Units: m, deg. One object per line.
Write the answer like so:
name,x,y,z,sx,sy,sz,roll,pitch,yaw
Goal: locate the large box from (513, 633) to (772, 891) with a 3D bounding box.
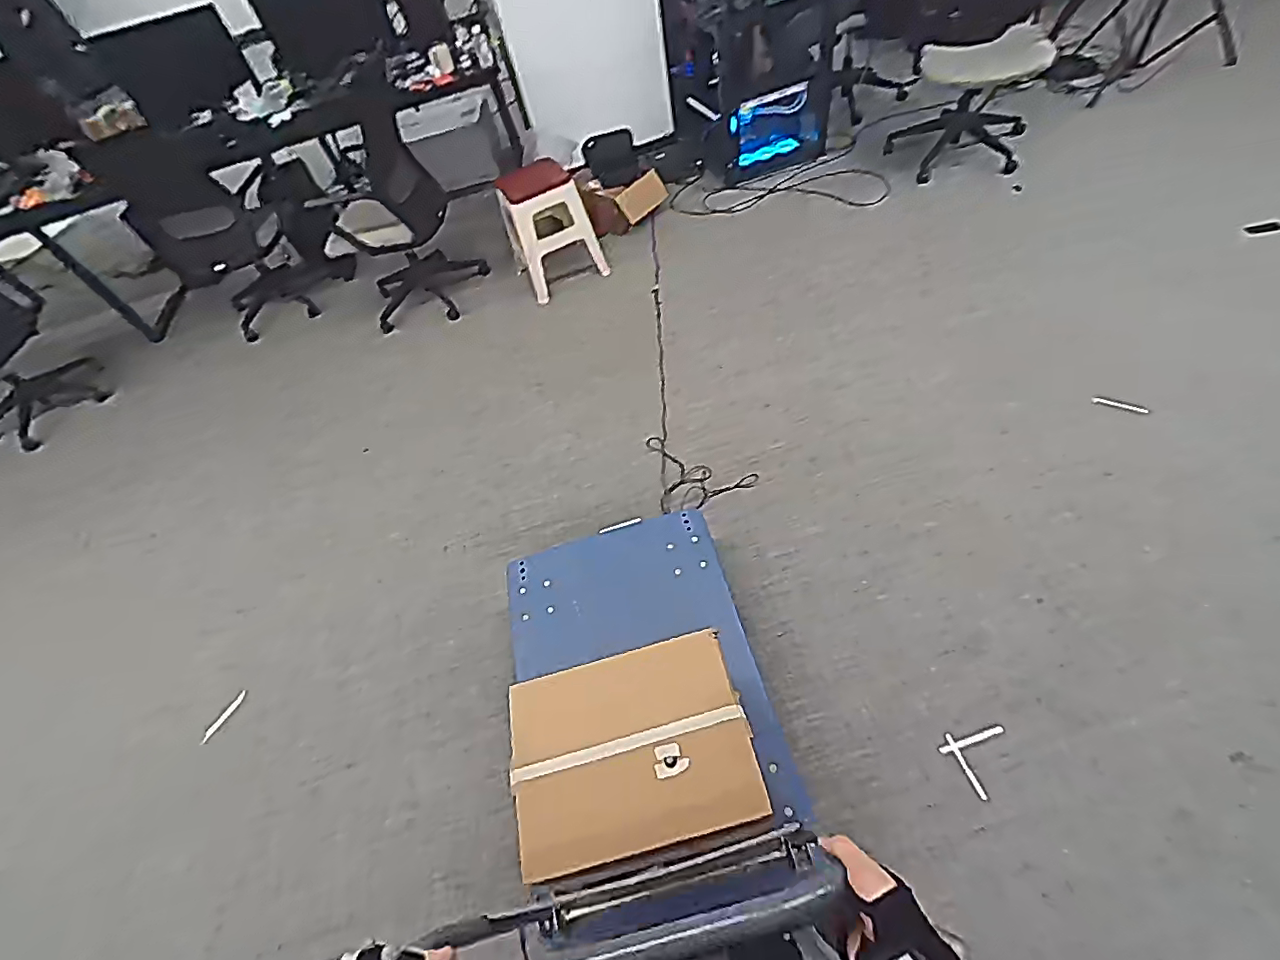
large box,0.007,0.551,1.044,0.408,0.320,0.320,-16,52,-1
